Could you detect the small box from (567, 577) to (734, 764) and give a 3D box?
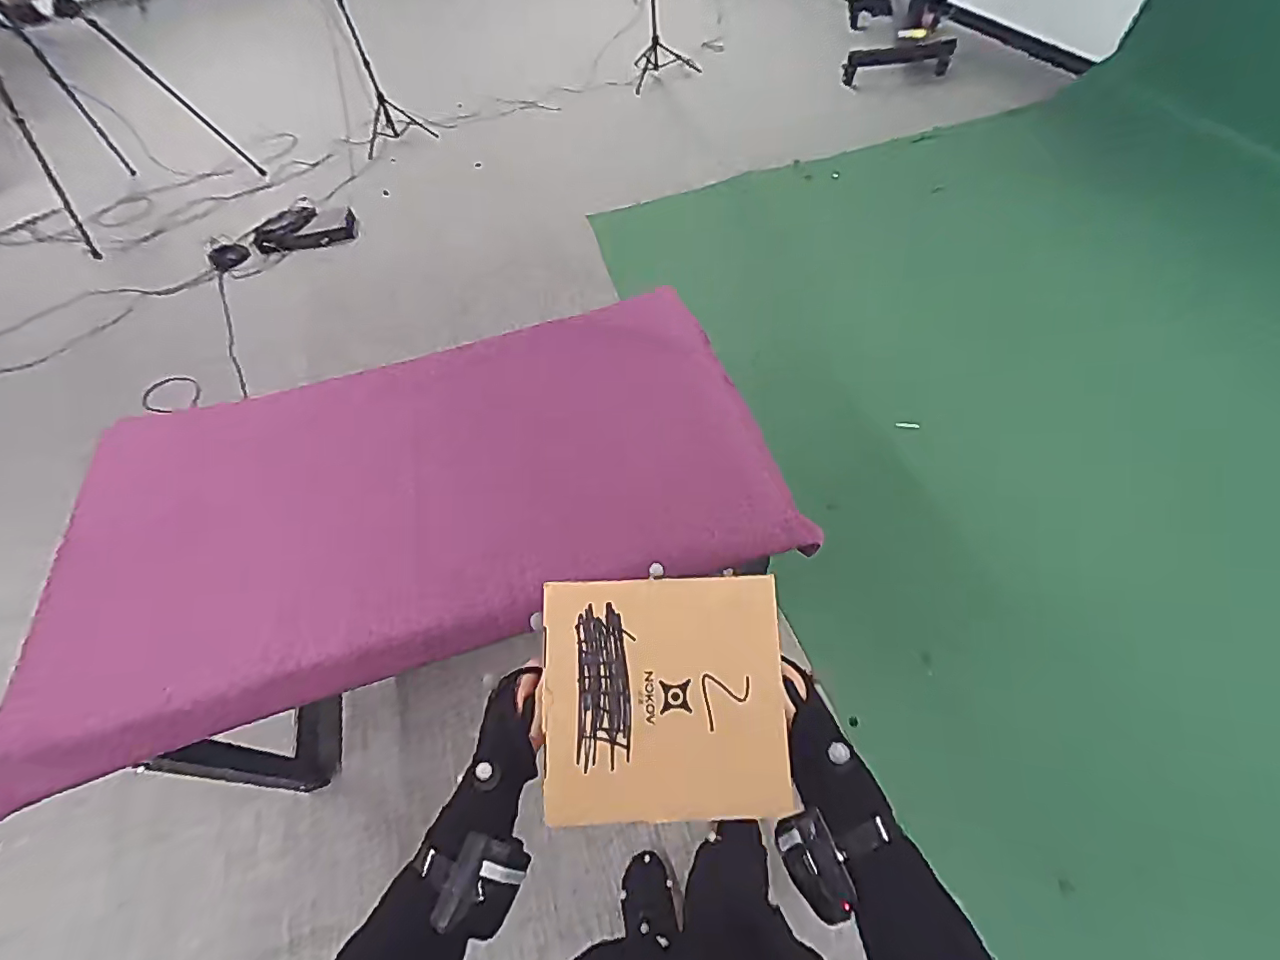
[{"bbox_3d":[0.012,0.210,0.632,0.168,0.176,0.179,3,77,-1],"label":"small box"}]
